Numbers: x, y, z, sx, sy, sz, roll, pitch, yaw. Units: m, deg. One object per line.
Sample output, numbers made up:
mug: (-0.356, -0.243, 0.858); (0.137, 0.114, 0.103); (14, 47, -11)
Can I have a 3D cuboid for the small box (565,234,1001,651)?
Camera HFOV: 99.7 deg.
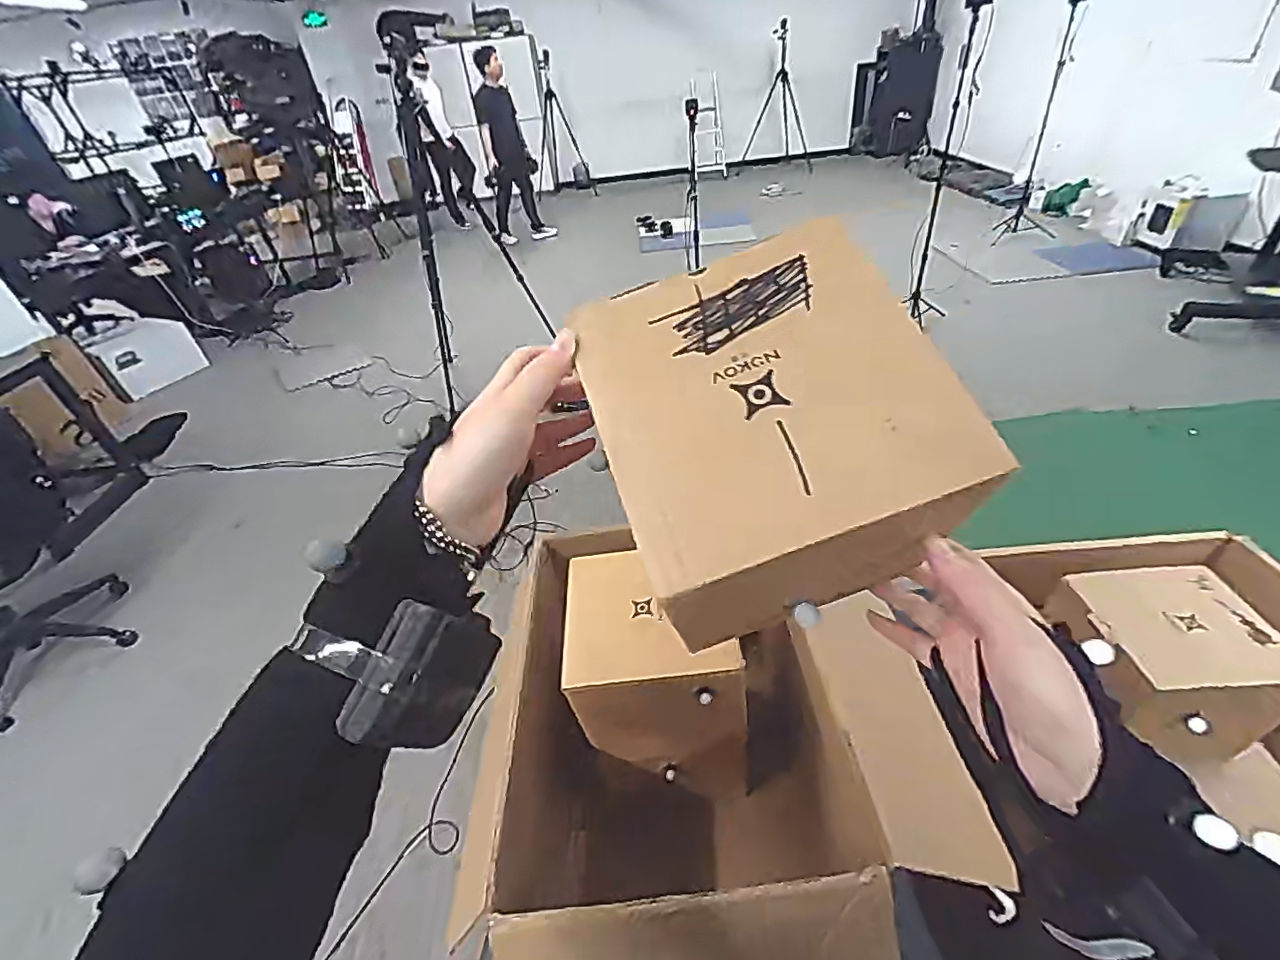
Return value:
small box: (0.069, -0.009, 0.343); (0.168, 0.176, 0.179); (-20, 64, 2)
